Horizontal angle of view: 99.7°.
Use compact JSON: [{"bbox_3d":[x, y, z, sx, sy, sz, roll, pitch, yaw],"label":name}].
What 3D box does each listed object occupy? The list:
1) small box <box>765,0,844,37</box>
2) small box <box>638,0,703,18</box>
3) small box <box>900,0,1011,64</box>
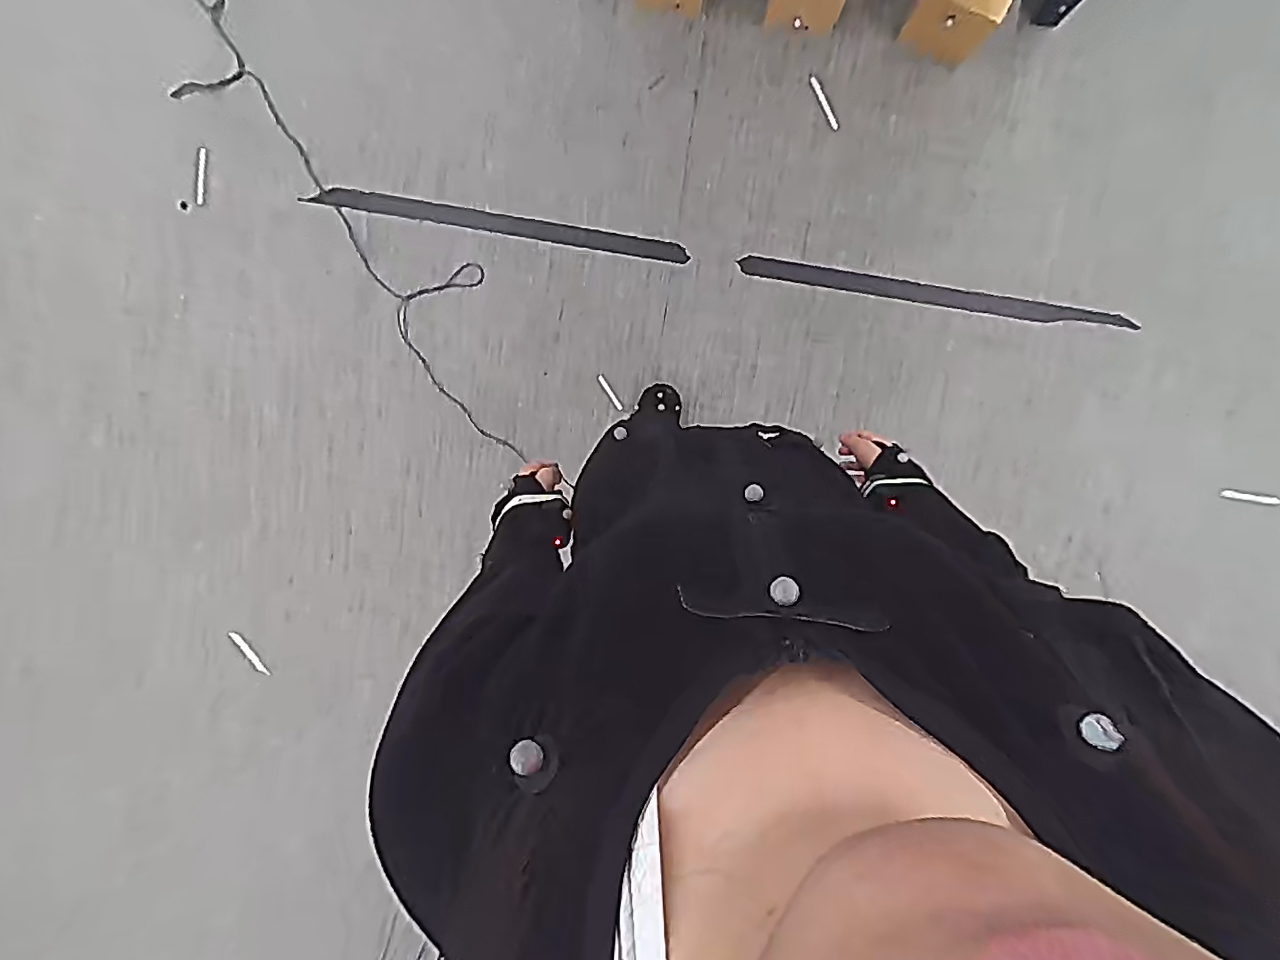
[{"bbox_3d":[0.394,-1.183,1.249,0.168,0.176,0.179,8,98,1],"label":"small box"},{"bbox_3d":[0.082,-1.237,1.252,0.168,0.176,0.179,10,96,0],"label":"small box"},{"bbox_3d":[0.745,-1.115,1.248,0.179,0.176,0.168,26,98,0],"label":"small box"}]
